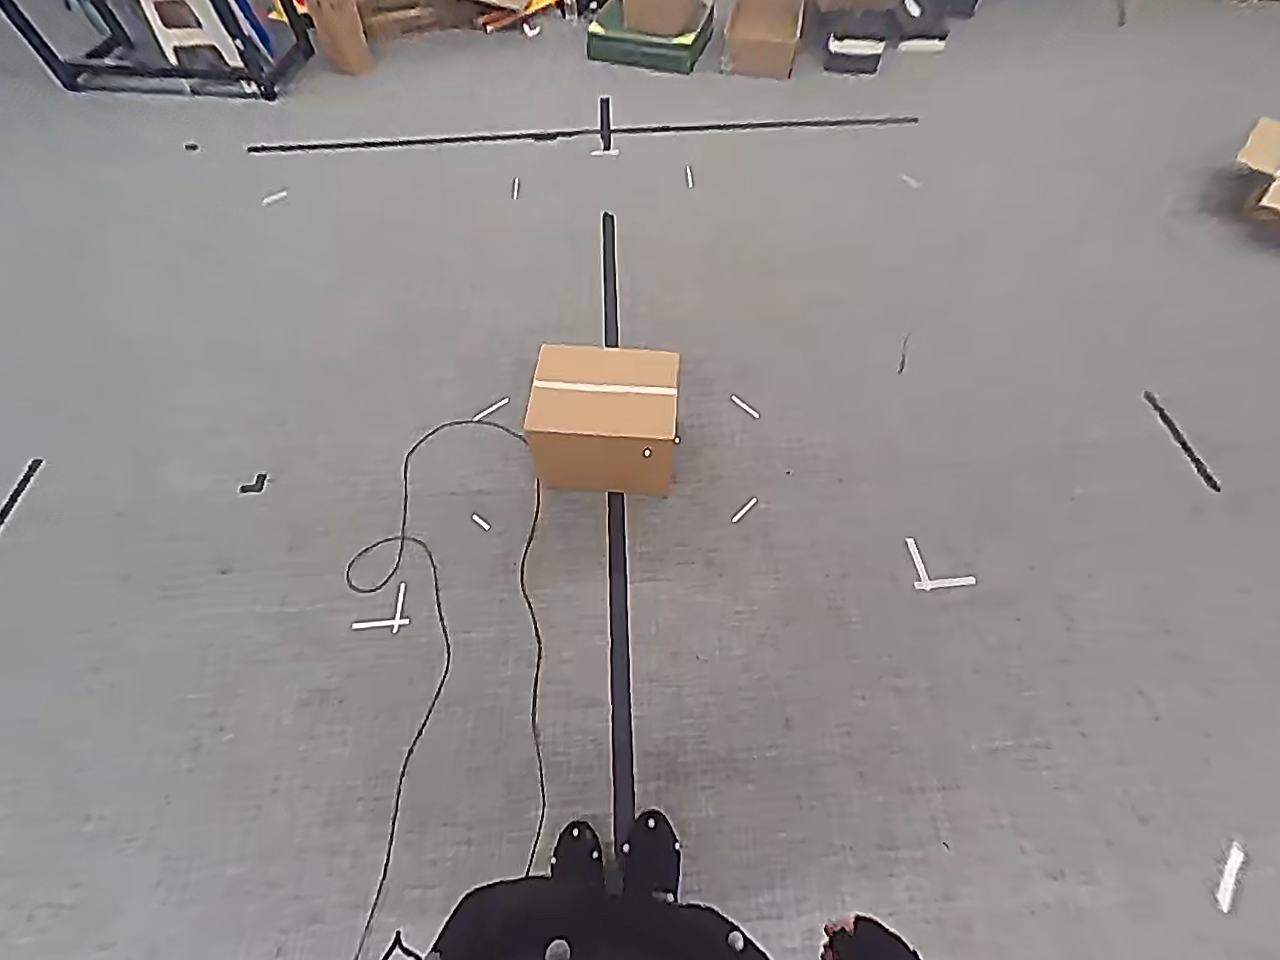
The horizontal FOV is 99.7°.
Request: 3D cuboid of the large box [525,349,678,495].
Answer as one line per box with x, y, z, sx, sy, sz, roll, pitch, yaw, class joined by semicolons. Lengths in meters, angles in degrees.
-0.097;-0.165;1.621;0.408;0.320;0.320;4;59;1;large box
